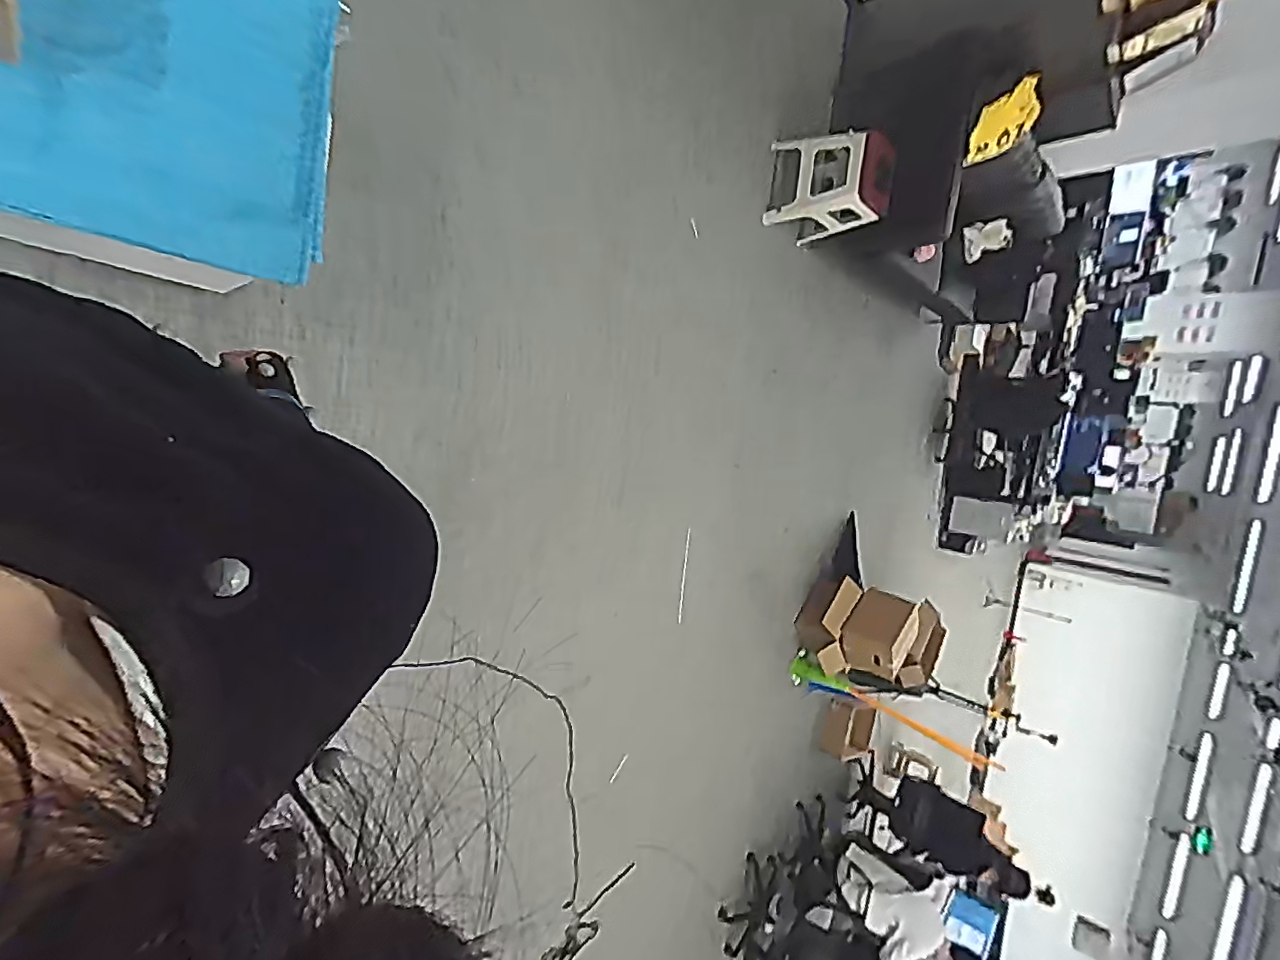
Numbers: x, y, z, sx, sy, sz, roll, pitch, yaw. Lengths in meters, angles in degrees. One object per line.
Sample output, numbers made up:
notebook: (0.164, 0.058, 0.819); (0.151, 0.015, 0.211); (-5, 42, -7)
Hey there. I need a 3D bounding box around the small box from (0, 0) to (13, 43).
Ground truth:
small box: (-0.643, -0.520, 0.446); (0.168, 0.176, 0.179); (5, 94, -49)
